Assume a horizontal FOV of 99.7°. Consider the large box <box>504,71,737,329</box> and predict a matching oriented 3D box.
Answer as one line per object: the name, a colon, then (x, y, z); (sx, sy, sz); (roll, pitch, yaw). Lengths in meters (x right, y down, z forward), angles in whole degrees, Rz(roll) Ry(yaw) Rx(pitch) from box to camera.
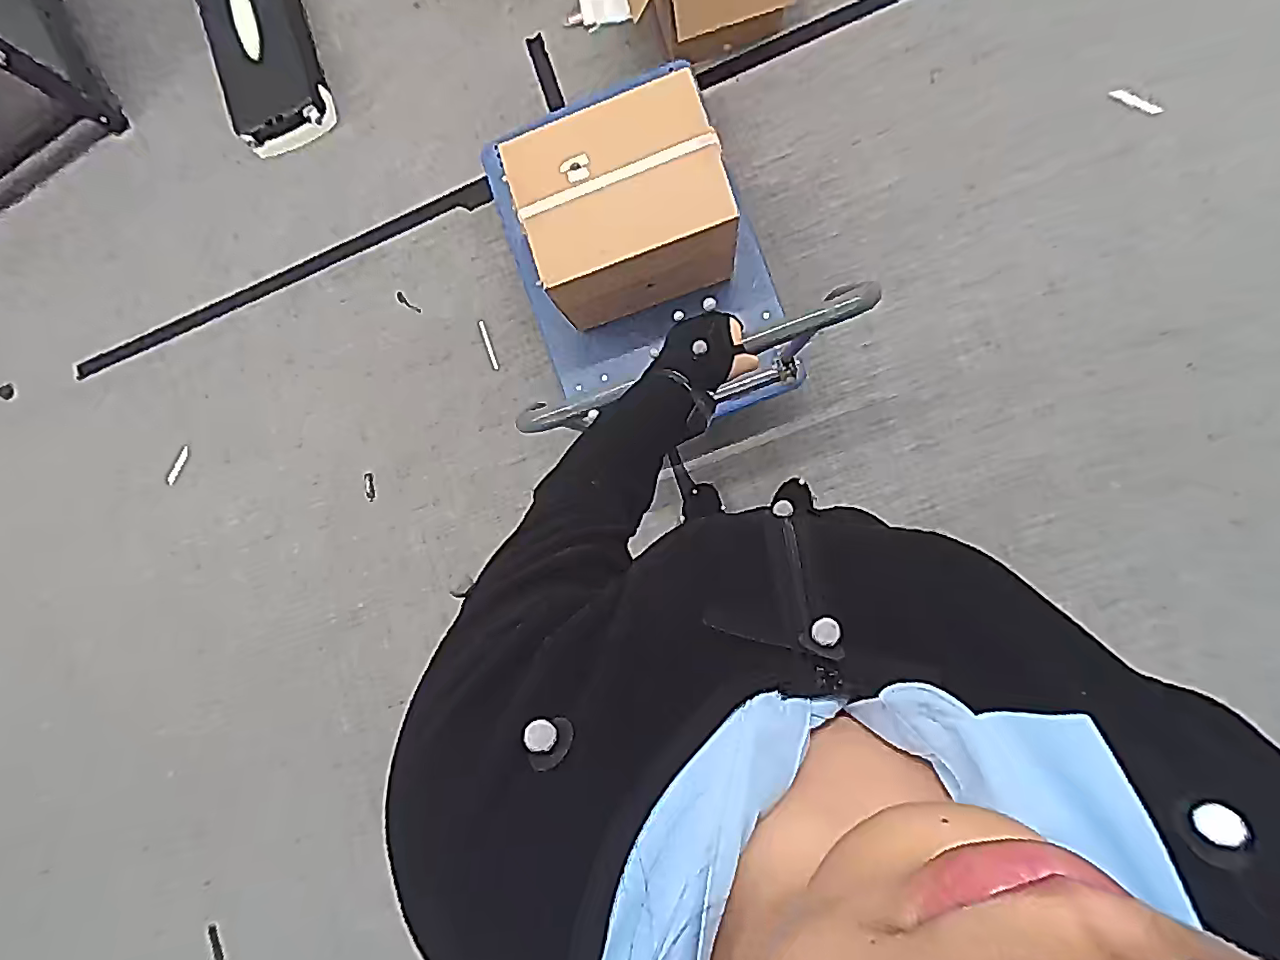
large box: (-0.025, -0.587, 1.212); (0.408, 0.320, 0.320); (-19, 86, 8)
